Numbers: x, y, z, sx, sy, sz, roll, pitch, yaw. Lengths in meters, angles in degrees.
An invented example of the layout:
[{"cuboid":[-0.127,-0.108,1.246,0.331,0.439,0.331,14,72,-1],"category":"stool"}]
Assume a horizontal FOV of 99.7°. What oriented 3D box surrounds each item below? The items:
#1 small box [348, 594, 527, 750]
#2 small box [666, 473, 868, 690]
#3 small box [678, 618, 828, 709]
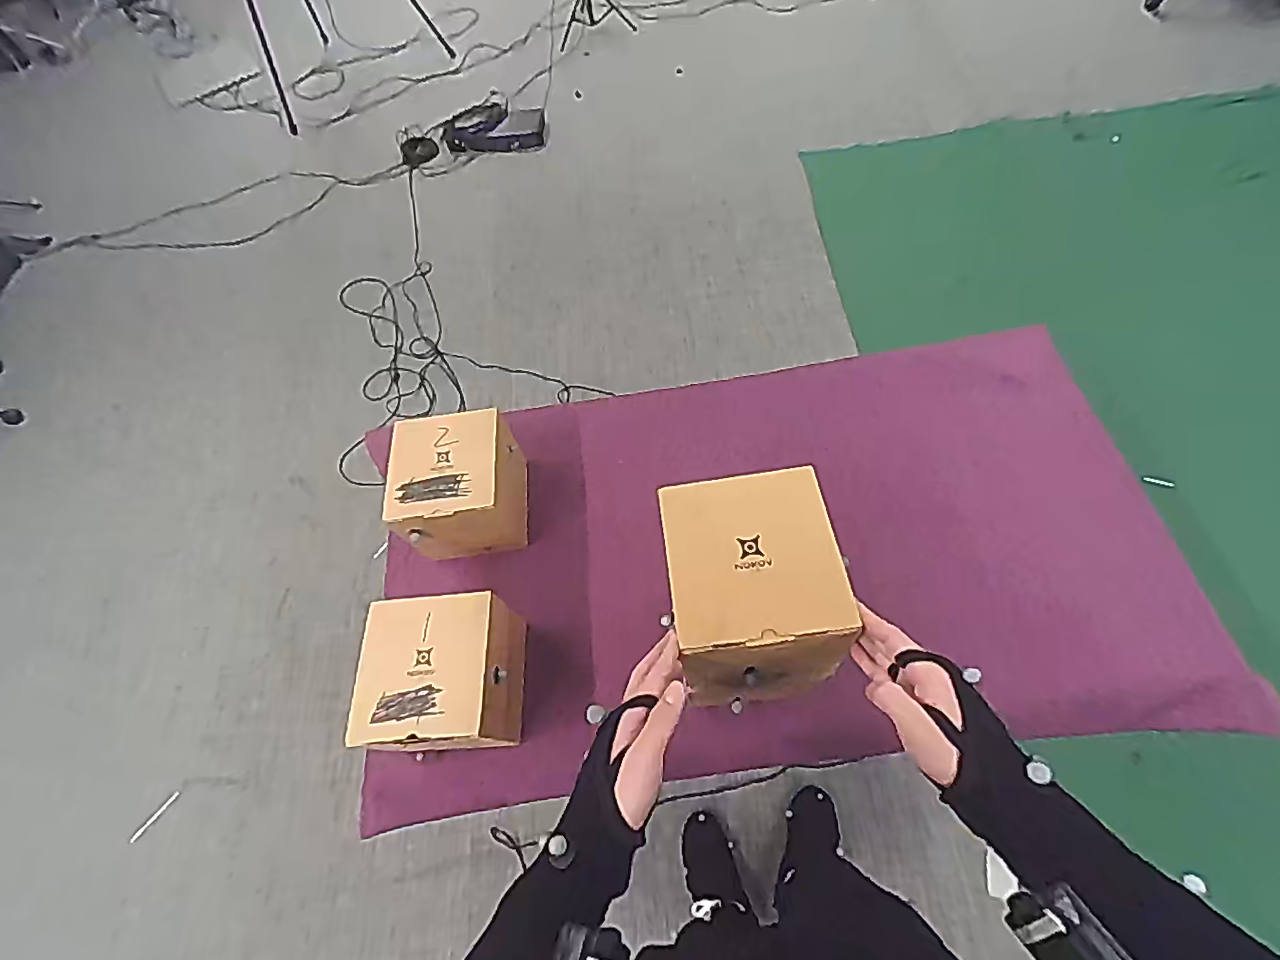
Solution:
[{"cuboid":[-0.258,0.268,0.736,0.168,0.176,0.179,-5,61,3],"category":"small box"},{"cuboid":[0.122,0.116,0.589,0.168,0.176,0.179,-8,59,3],"category":"small box"},{"cuboid":[0.136,0.201,0.730,0.168,0.176,0.179,-8,61,3],"category":"small box"}]
